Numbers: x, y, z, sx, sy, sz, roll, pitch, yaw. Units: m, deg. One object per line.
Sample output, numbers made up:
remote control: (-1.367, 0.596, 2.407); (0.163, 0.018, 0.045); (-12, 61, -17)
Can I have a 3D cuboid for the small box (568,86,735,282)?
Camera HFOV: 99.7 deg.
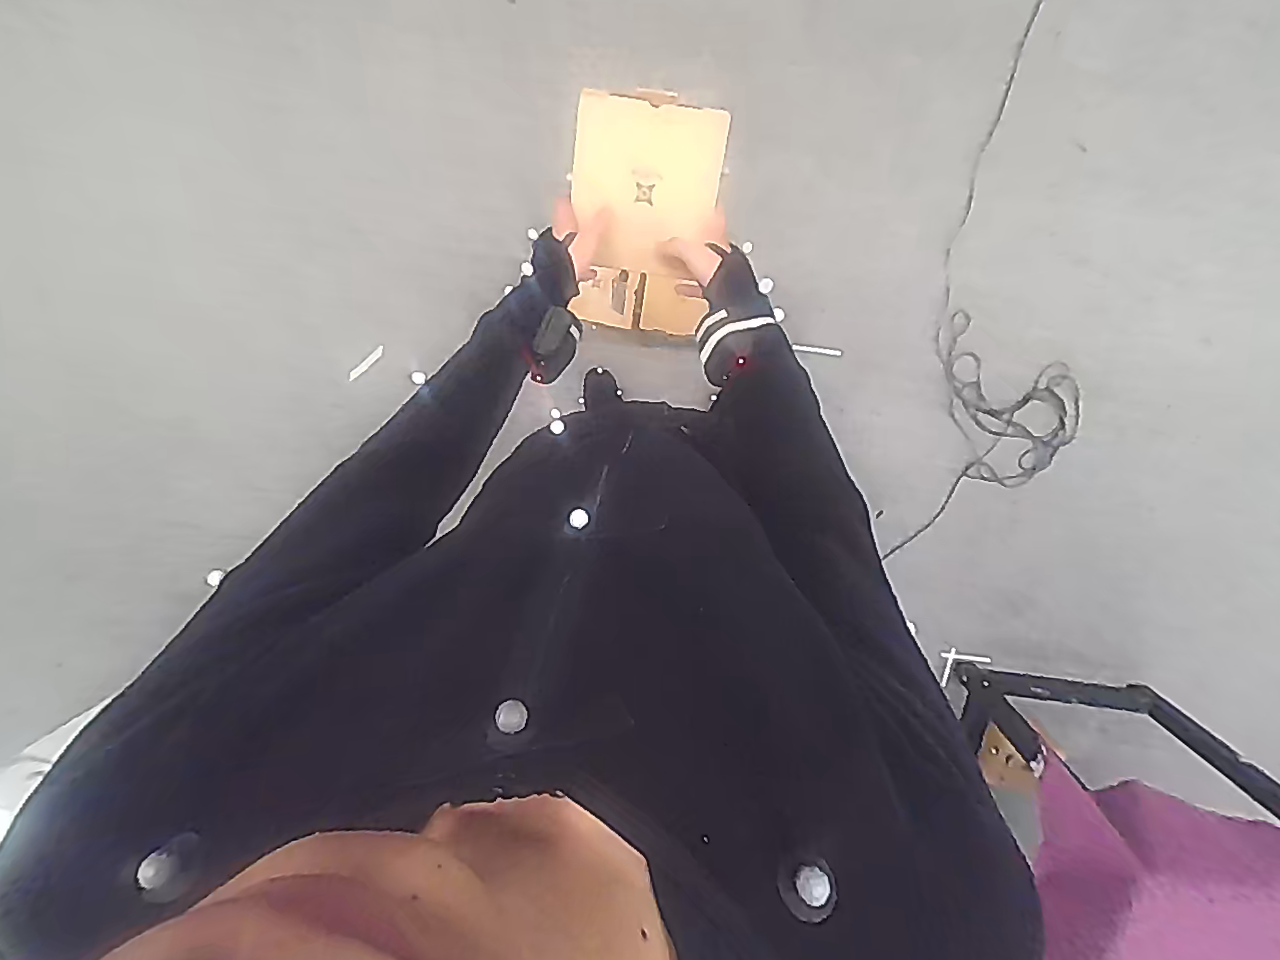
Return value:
small box: (0.010, -0.353, 0.679); (0.168, 0.176, 0.179); (9, 111, -2)
